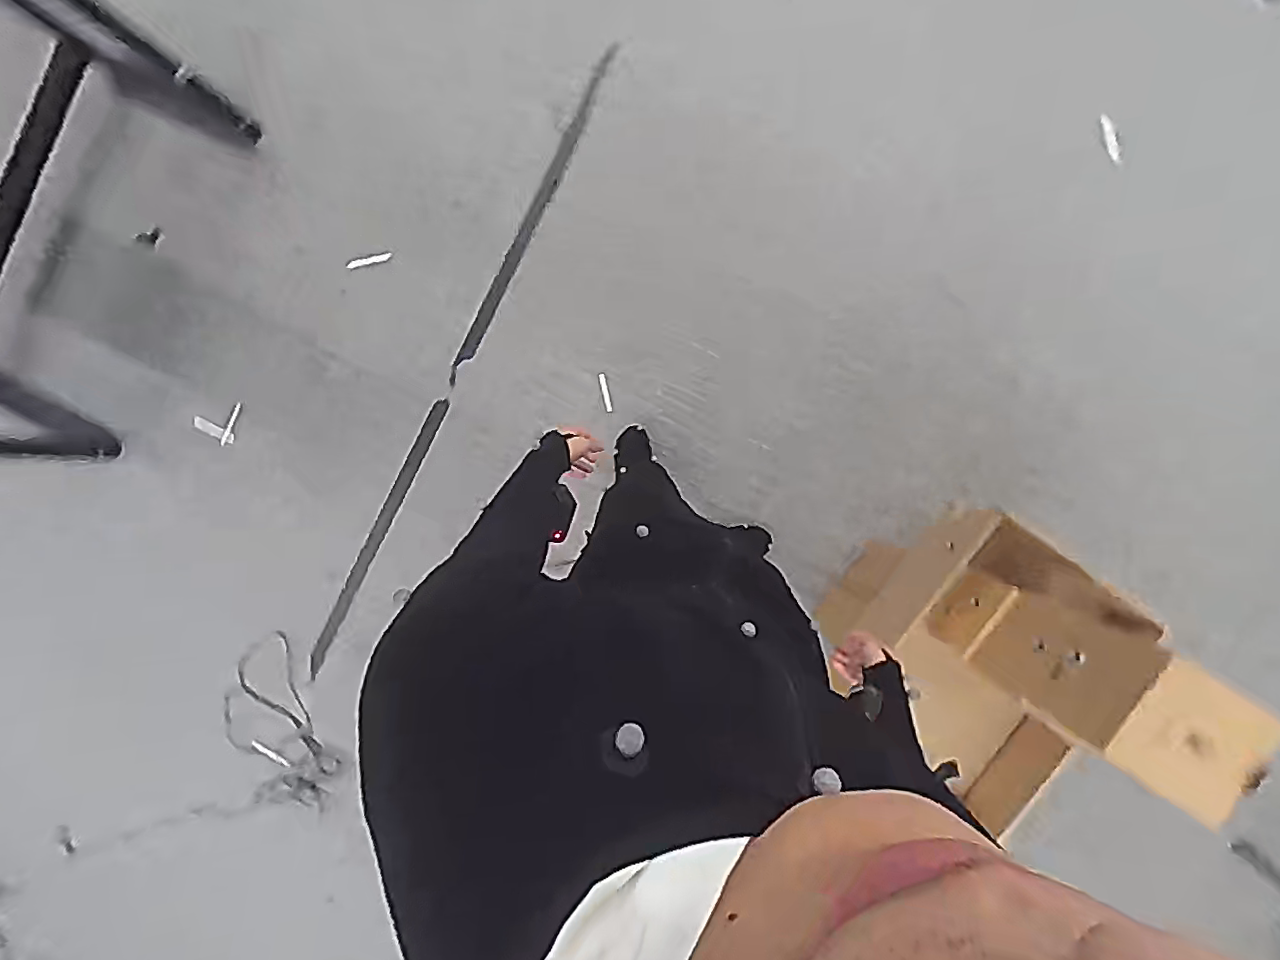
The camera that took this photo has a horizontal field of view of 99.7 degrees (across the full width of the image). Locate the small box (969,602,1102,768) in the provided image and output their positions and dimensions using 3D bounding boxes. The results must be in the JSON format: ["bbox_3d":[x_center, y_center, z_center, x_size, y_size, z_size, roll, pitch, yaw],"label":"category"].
[{"bbox_3d":[0.720,0.339,0.934,0.168,0.176,0.179,36,95,2],"label":"small box"}]

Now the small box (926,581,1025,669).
[{"bbox_3d":[0.728,0.324,1.098,0.179,0.176,0.168,35,95,2],"label":"small box"}]

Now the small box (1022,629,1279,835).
[{"bbox_3d":[0.711,0.341,0.771,0.179,0.176,0.168,34,94,1],"label":"small box"}]
